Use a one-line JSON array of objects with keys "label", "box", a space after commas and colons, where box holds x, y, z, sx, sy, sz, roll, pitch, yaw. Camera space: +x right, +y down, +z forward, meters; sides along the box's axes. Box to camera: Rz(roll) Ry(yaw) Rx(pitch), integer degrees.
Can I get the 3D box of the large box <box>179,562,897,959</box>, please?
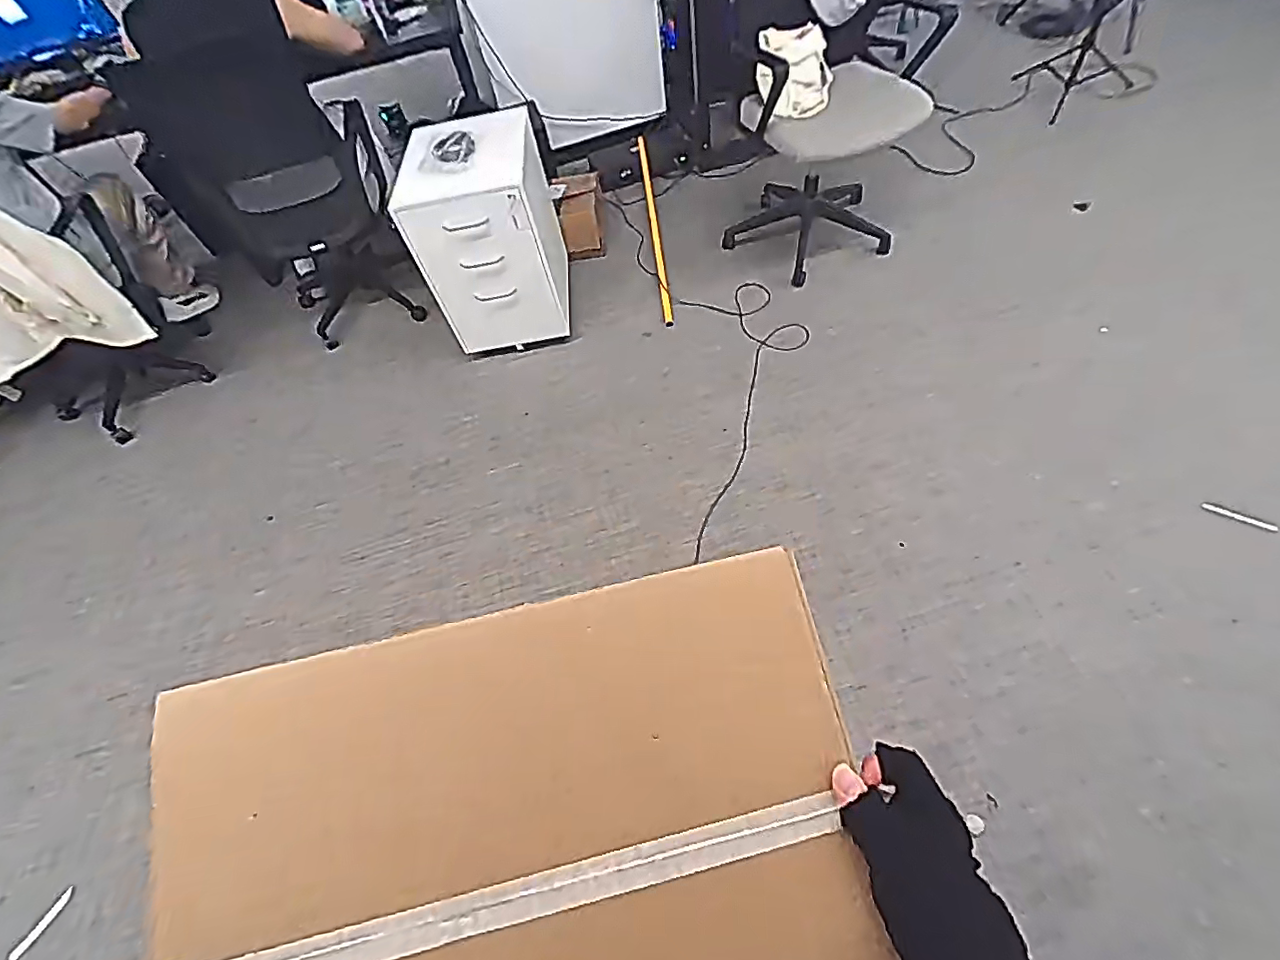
[{"label": "large box", "box": [-0.065, 0.281, 0.465, 0.408, 0.320, 0.320, -13, 75, -5]}]
